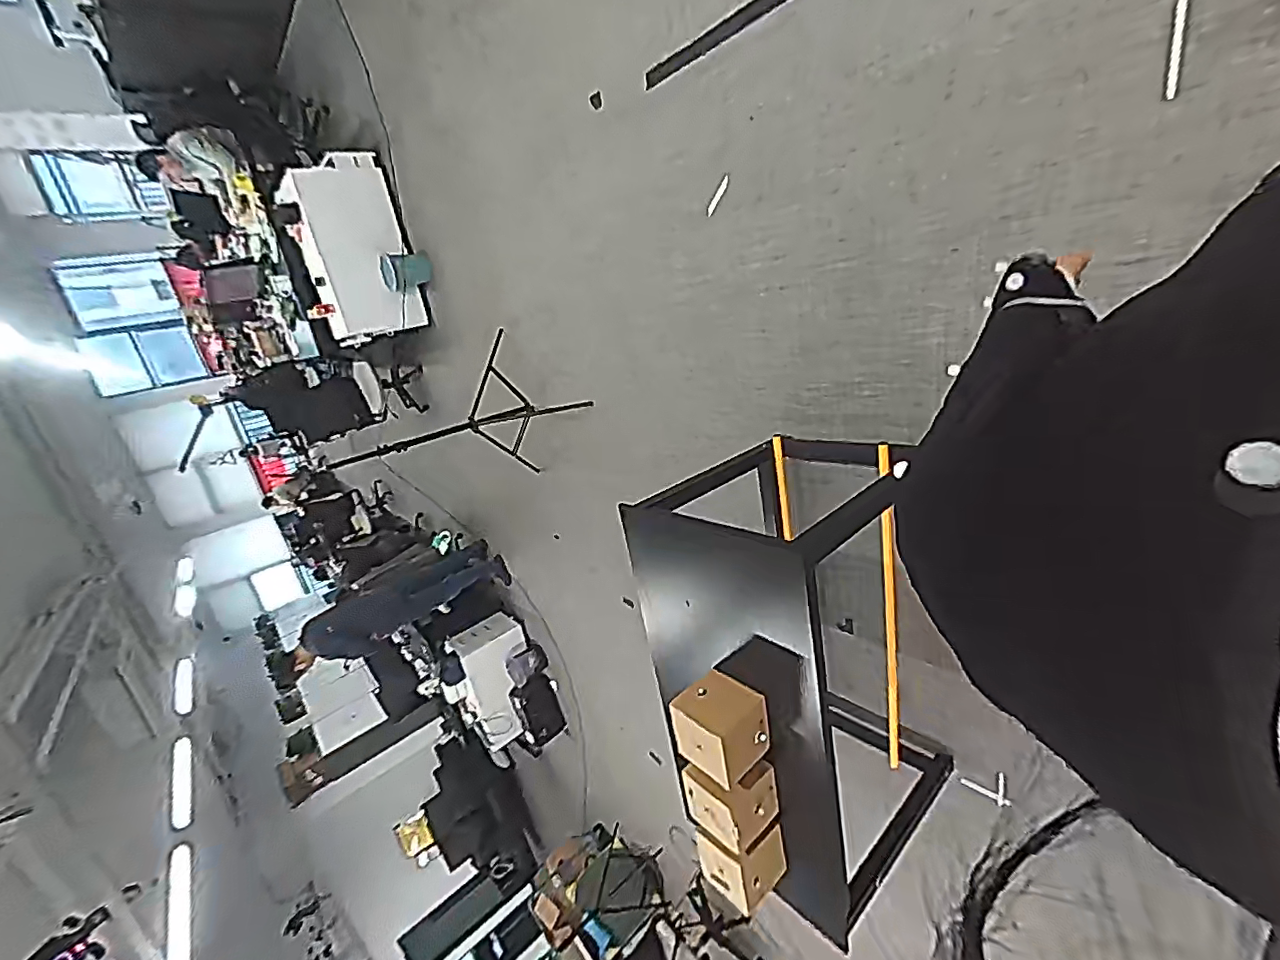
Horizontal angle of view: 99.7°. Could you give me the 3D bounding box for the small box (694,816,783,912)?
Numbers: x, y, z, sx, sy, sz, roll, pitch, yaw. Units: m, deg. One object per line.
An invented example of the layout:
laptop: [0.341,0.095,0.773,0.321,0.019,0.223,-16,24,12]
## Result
small box: [0.278,1.021,1.500,0.168,0.176,0.179,9,116,50]

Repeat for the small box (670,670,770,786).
small box: [0.202,0.610,1.360,0.179,0.176,0.168,13,121,49]

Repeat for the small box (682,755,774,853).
small box: [0.240,0.820,1.434,0.179,0.176,0.168,12,119,49]
